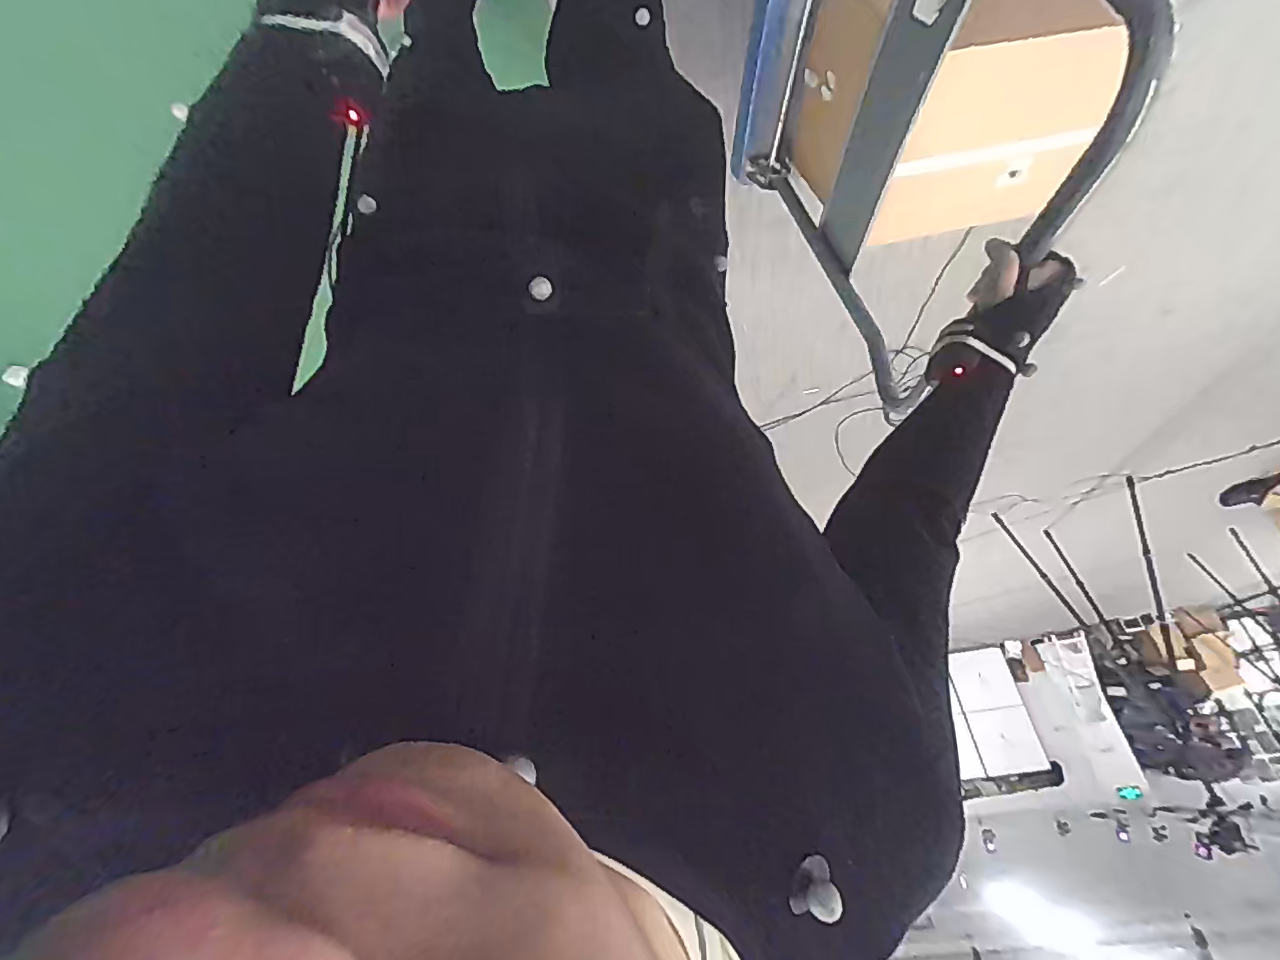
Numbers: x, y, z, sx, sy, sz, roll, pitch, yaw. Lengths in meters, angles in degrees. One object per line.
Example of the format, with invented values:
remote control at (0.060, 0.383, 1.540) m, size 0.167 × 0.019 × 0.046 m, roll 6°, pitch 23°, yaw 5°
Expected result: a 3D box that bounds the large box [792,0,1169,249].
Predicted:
large box at (0.544, -0.673, 0.965) m, size 0.408 × 0.320 × 0.320 m, roll -14°, pitch 152°, yaw -9°
